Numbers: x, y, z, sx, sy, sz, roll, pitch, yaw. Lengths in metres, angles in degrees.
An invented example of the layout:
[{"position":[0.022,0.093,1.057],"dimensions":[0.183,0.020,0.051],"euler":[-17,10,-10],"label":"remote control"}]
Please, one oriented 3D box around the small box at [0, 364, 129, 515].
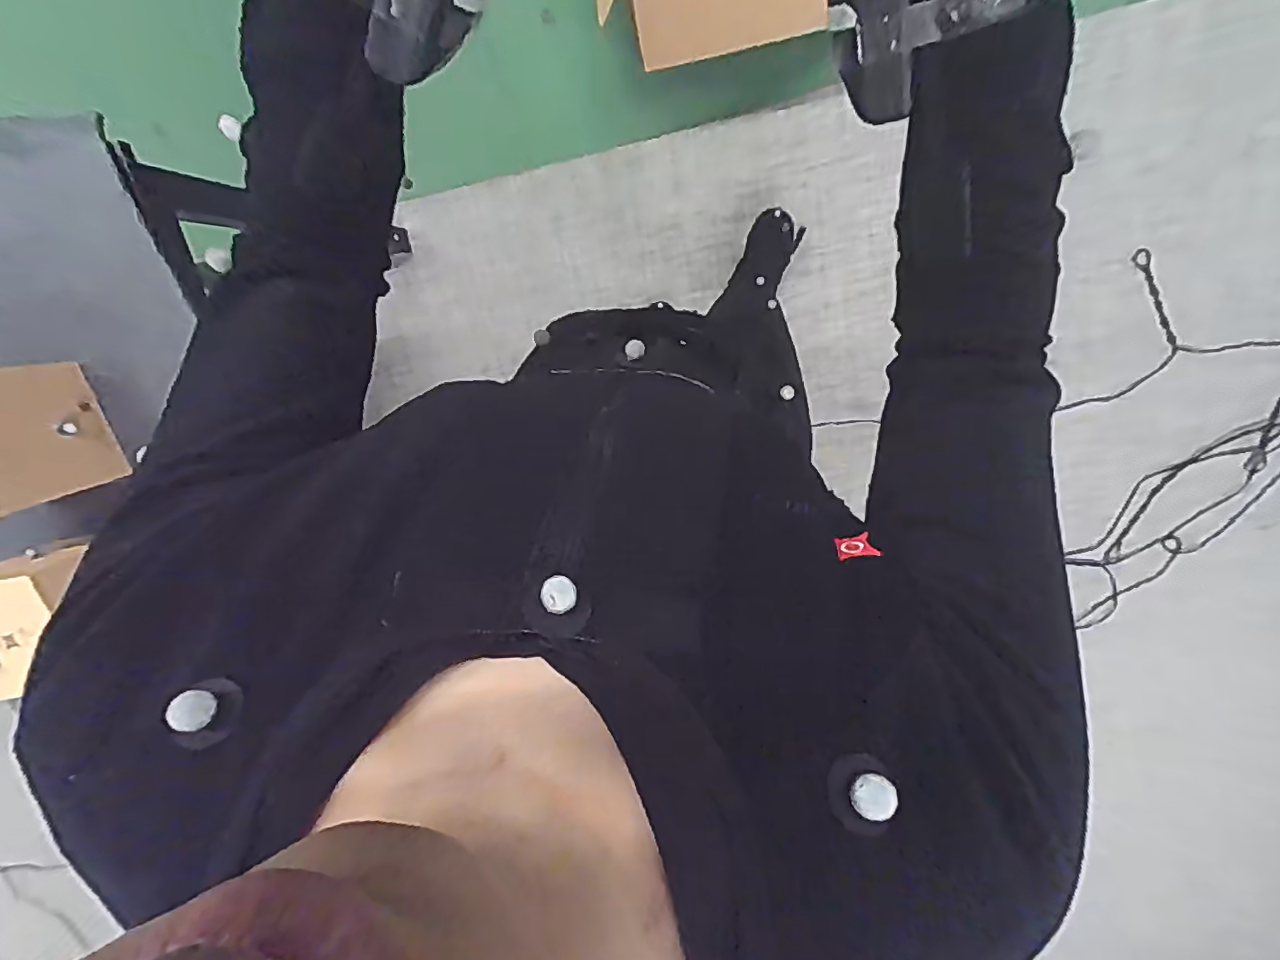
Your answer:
[{"position":[-0.833,-0.047,0.691],"dimensions":[0.179,0.176,0.168],"euler":[-9,108,7],"label":"small box"}]
